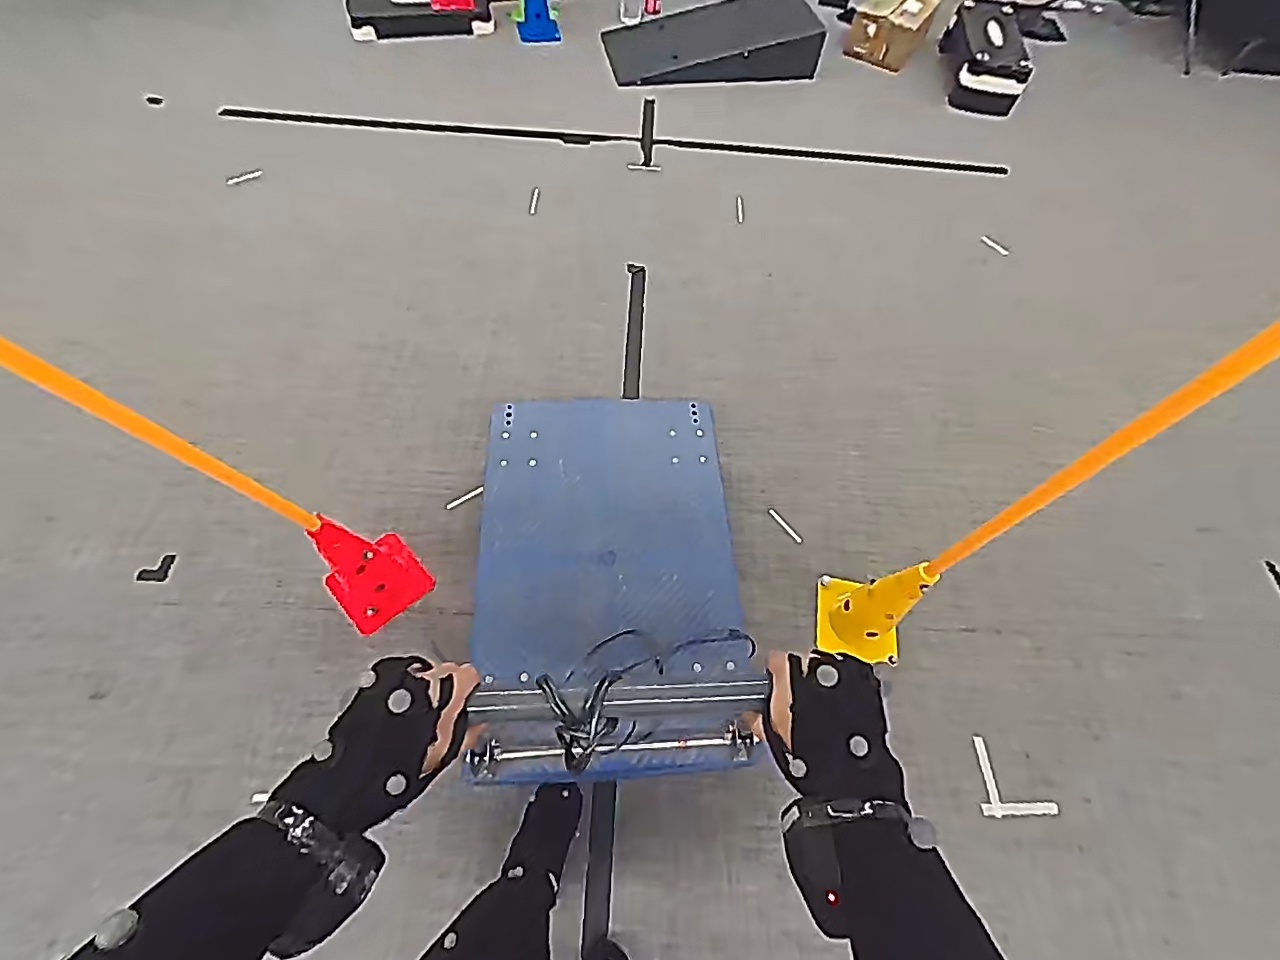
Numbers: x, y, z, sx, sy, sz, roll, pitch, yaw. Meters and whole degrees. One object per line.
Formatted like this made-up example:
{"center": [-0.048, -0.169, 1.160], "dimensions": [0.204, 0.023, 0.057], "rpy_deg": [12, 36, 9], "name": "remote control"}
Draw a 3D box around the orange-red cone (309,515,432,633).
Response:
{"center": [-0.621, 0.165, 1.172], "dimensions": [0.199, 0.360, 0.198], "rpy_deg": [-37, 71, -23], "name": "orange-red cone"}
